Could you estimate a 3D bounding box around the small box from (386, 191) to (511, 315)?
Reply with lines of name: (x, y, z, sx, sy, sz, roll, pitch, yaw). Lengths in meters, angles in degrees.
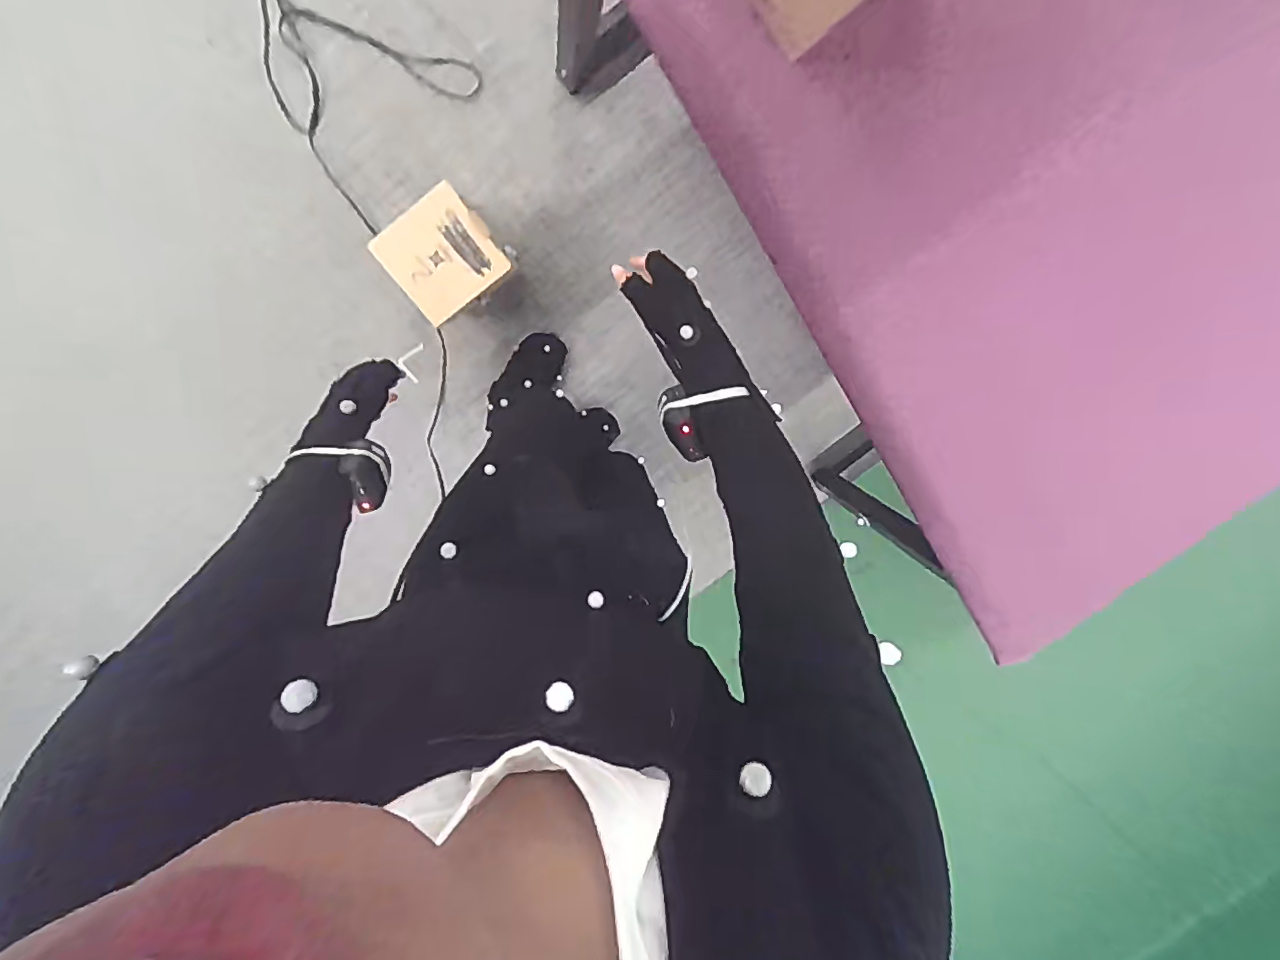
small box: (-0.389, -0.471, 1.134, 0.179, 0.176, 0.168, -35, 111, 5)

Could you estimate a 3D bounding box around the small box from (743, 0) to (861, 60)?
small box: (0.172, -0.506, 0.441, 0.179, 0.176, 0.168, -42, 111, 5)
